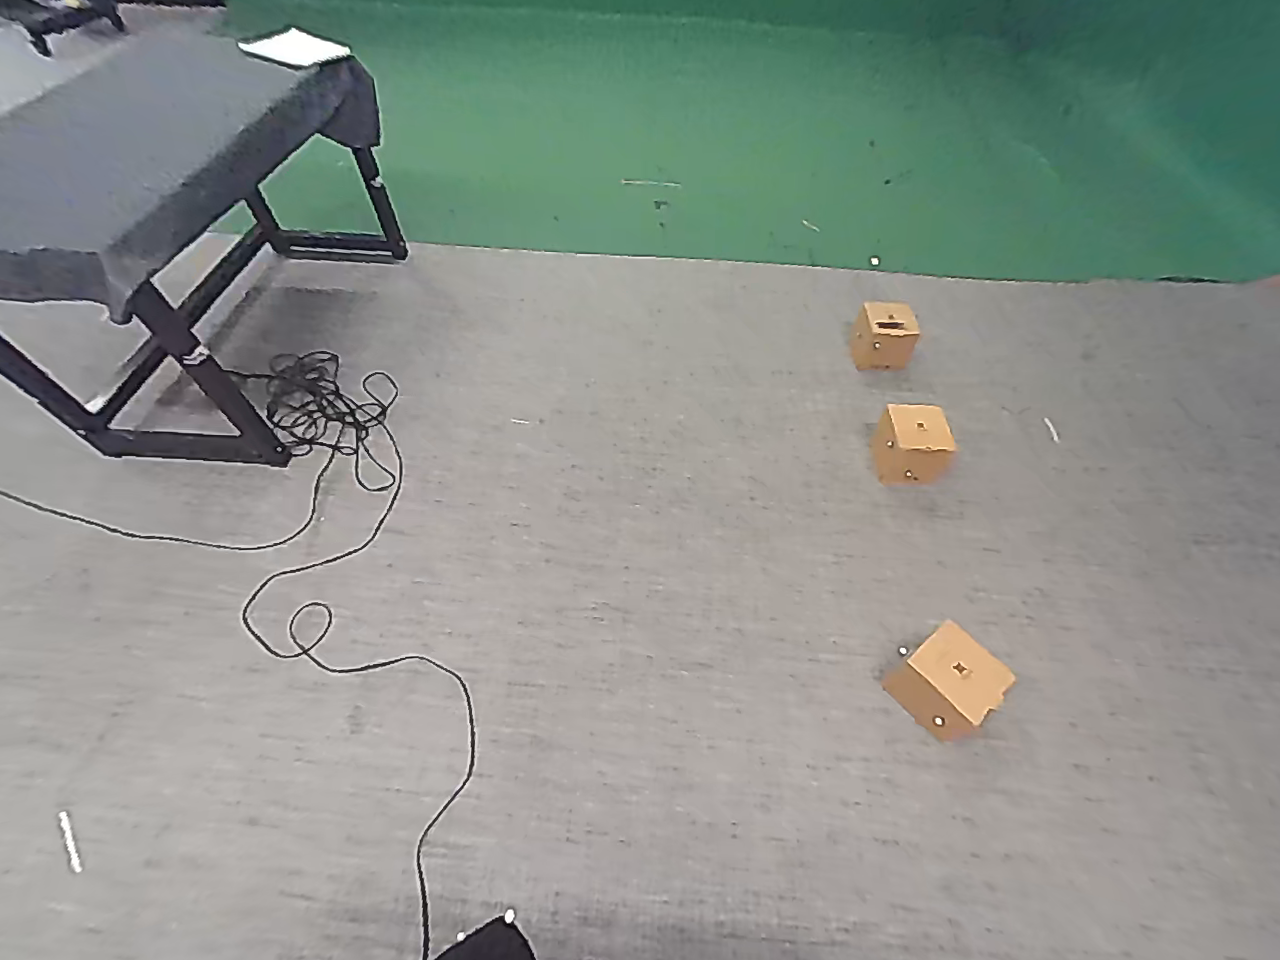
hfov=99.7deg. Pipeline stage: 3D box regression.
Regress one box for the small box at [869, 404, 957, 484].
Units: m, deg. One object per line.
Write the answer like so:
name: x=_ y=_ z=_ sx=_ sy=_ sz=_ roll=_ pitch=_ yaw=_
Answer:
small box: x=0.821 y=-0.109 z=1.649 sx=0.168 sy=0.176 sz=0.179 roll=2 pitch=55 yaw=0

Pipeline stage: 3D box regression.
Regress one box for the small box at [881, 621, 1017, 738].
small box: x=0.696 y=0.462 z=1.235 sx=0.168 sy=0.176 sz=0.179 roll=-32 pitch=60 yaw=-24
